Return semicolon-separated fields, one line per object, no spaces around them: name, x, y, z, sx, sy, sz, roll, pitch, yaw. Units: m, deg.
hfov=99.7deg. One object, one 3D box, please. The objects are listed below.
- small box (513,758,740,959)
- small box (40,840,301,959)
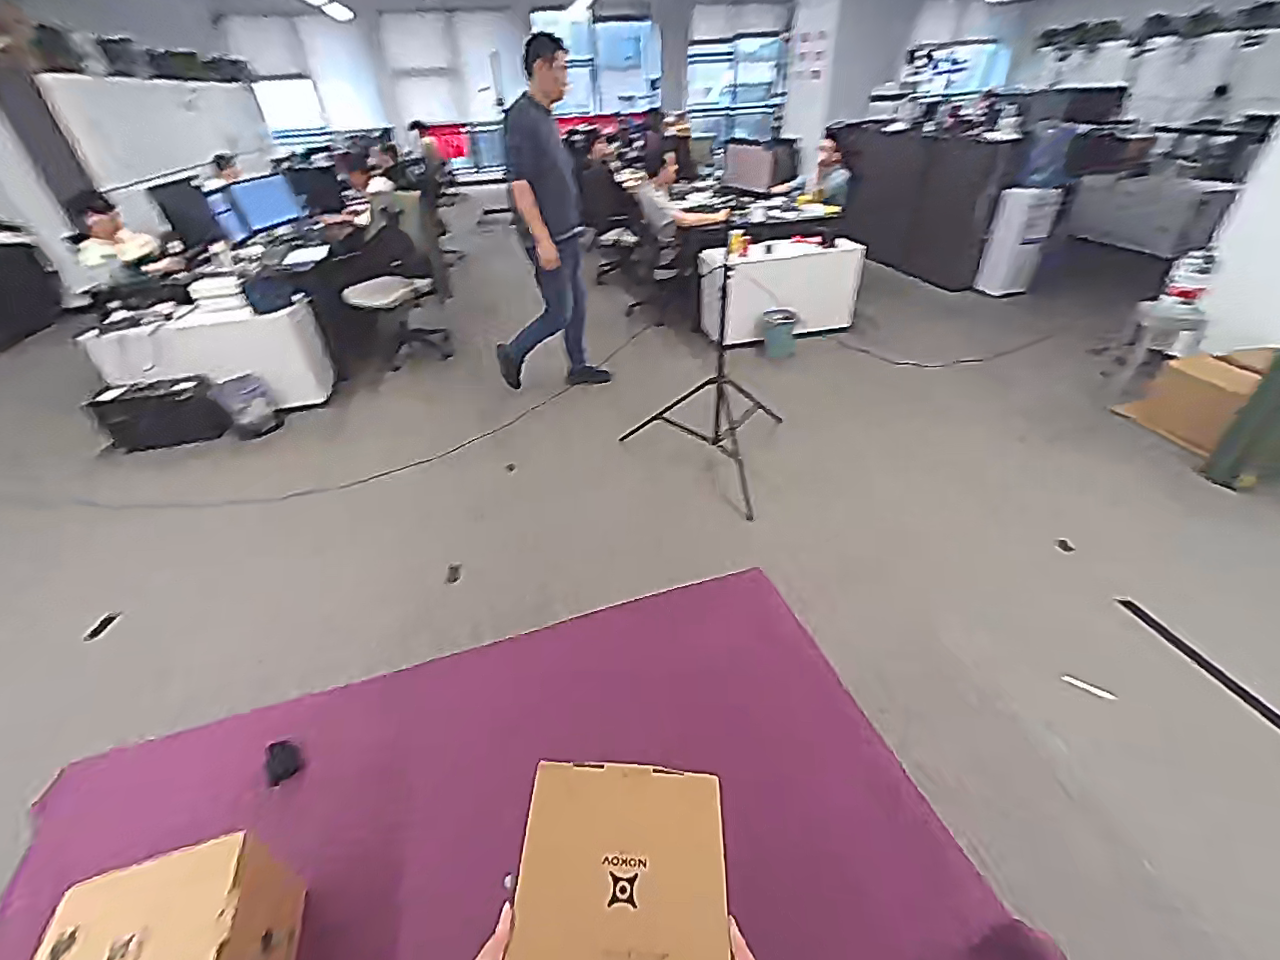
small box;-0.014;0.374;0.473;0.168;0.176;0.179;5;40;-2
small box;-0.493;0.530;0.573;0.179;0.176;0.168;-12;36;-14
